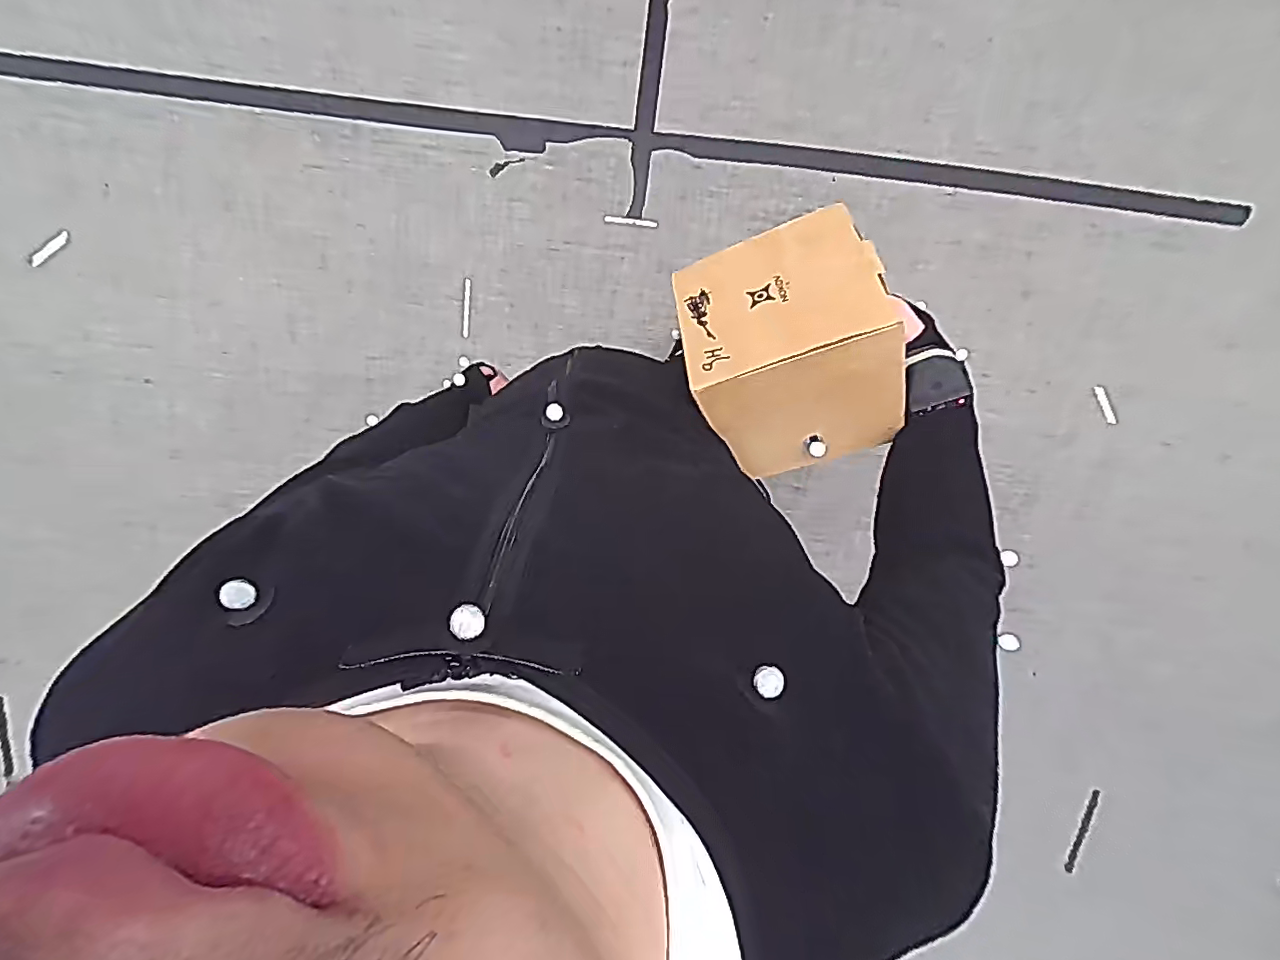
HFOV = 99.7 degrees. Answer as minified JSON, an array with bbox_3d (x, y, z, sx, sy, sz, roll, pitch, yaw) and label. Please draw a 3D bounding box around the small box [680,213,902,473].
[{"bbox_3d":[0.157,-0.131,0.567,0.179,0.168,0.176,-16,144,16],"label":"small box"}]
